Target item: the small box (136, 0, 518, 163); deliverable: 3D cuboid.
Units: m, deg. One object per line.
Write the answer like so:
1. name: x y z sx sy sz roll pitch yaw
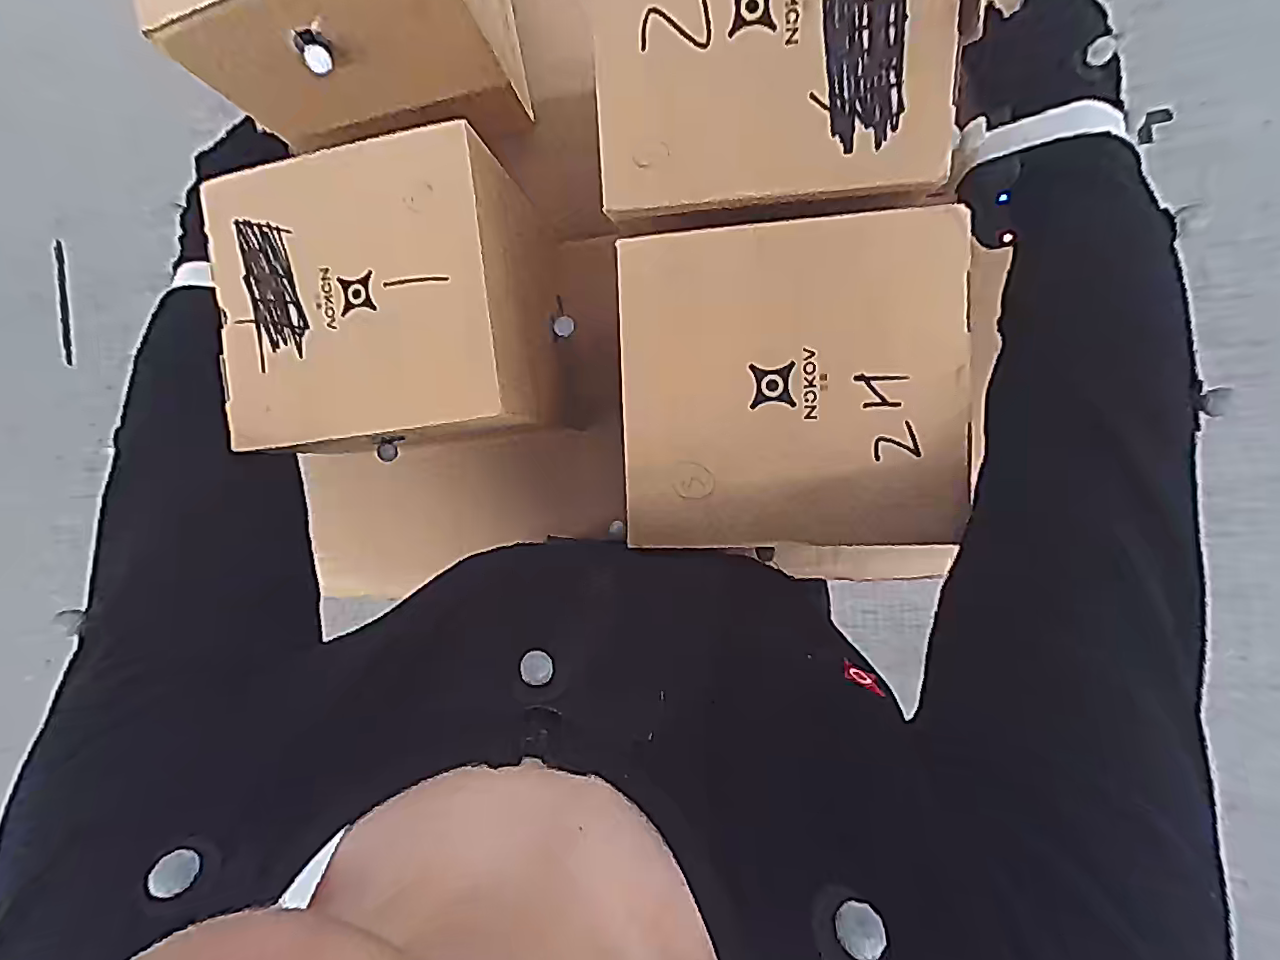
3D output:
1. small box: -0.196 -0.354 0.363 0.179 0.176 0.168 -11 91 11
